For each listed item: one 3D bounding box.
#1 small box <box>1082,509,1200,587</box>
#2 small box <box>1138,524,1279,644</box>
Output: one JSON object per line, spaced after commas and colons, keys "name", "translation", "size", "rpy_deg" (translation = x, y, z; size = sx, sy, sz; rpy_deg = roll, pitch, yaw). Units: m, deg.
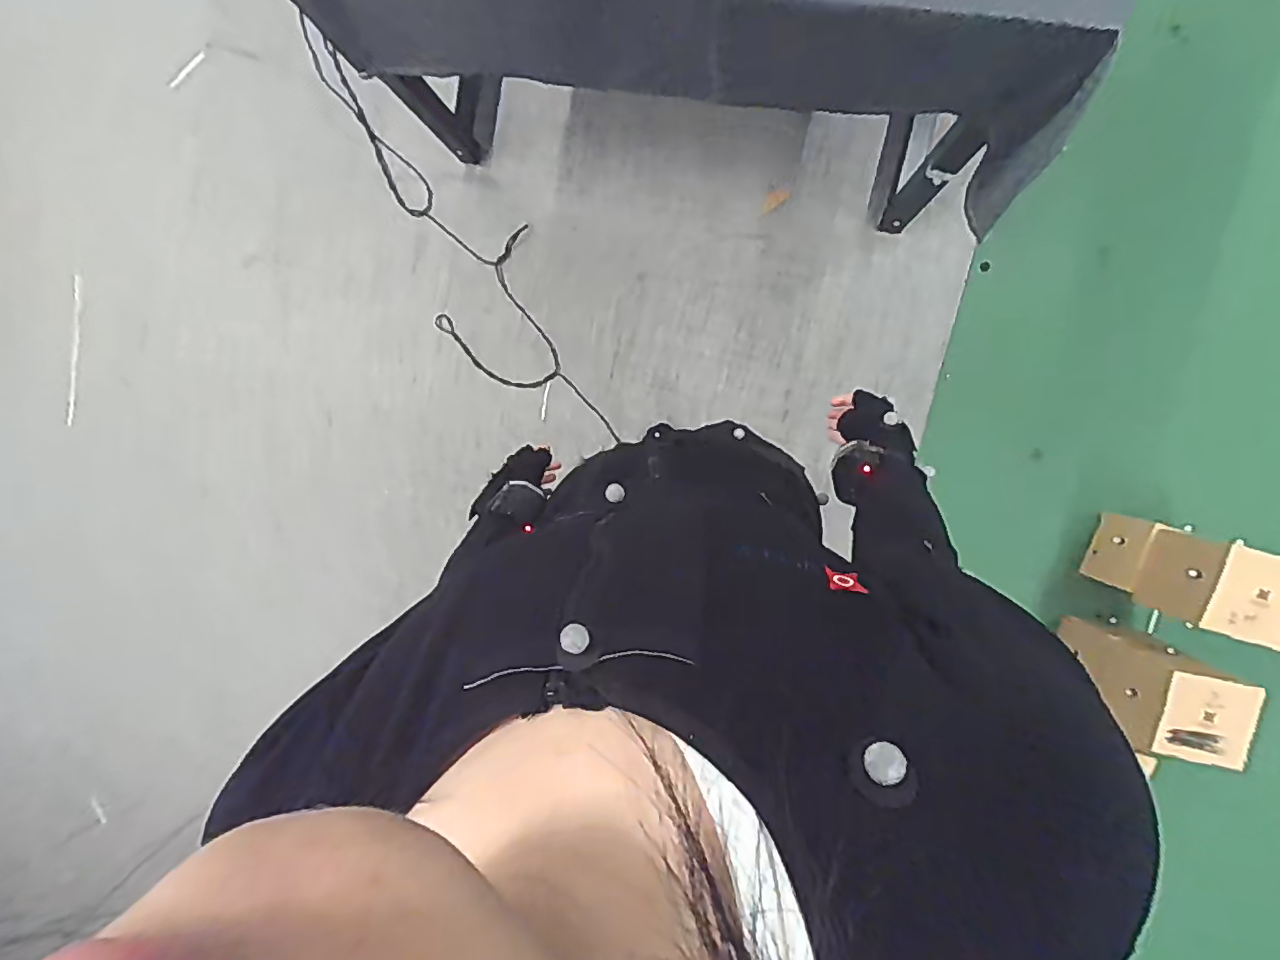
{"name": "small box", "translation": [1.198, 0.174, 1.264], "size": [0.179, 0.176, 0.168], "rpy_deg": [18, 98, 5]}
{"name": "small box", "translation": [1.184, 0.202, 1.102], "size": [0.168, 0.176, 0.179], "rpy_deg": [17, 97, 5]}
